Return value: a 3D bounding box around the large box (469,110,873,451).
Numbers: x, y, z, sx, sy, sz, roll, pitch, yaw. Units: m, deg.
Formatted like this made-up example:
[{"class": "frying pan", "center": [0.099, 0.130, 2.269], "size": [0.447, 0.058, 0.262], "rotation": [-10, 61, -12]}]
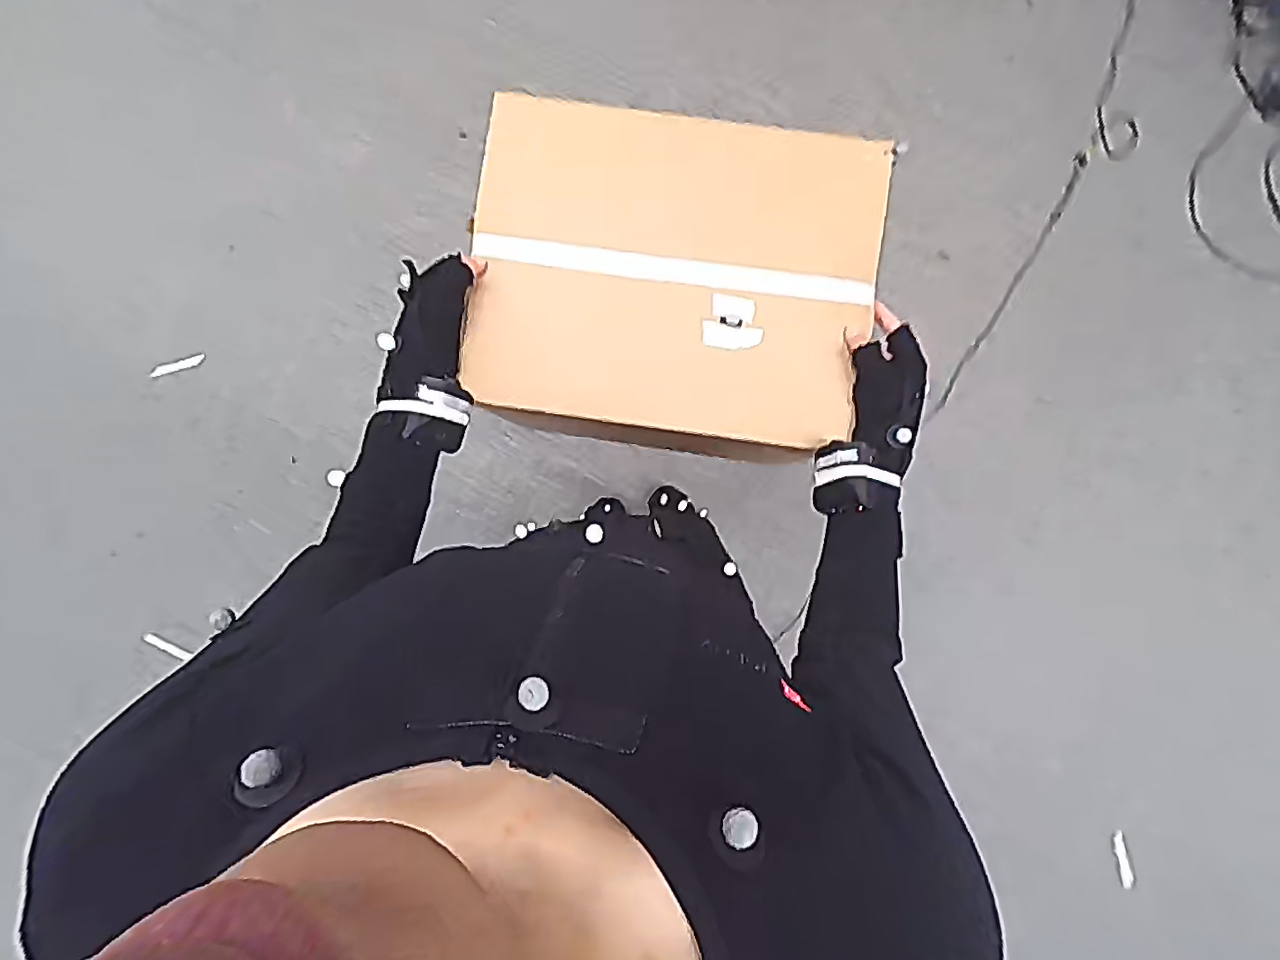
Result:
[{"class": "large box", "center": [0.032, -0.217, 0.712], "size": [0.408, 0.320, 0.320], "rotation": [7, 90, 1]}]
